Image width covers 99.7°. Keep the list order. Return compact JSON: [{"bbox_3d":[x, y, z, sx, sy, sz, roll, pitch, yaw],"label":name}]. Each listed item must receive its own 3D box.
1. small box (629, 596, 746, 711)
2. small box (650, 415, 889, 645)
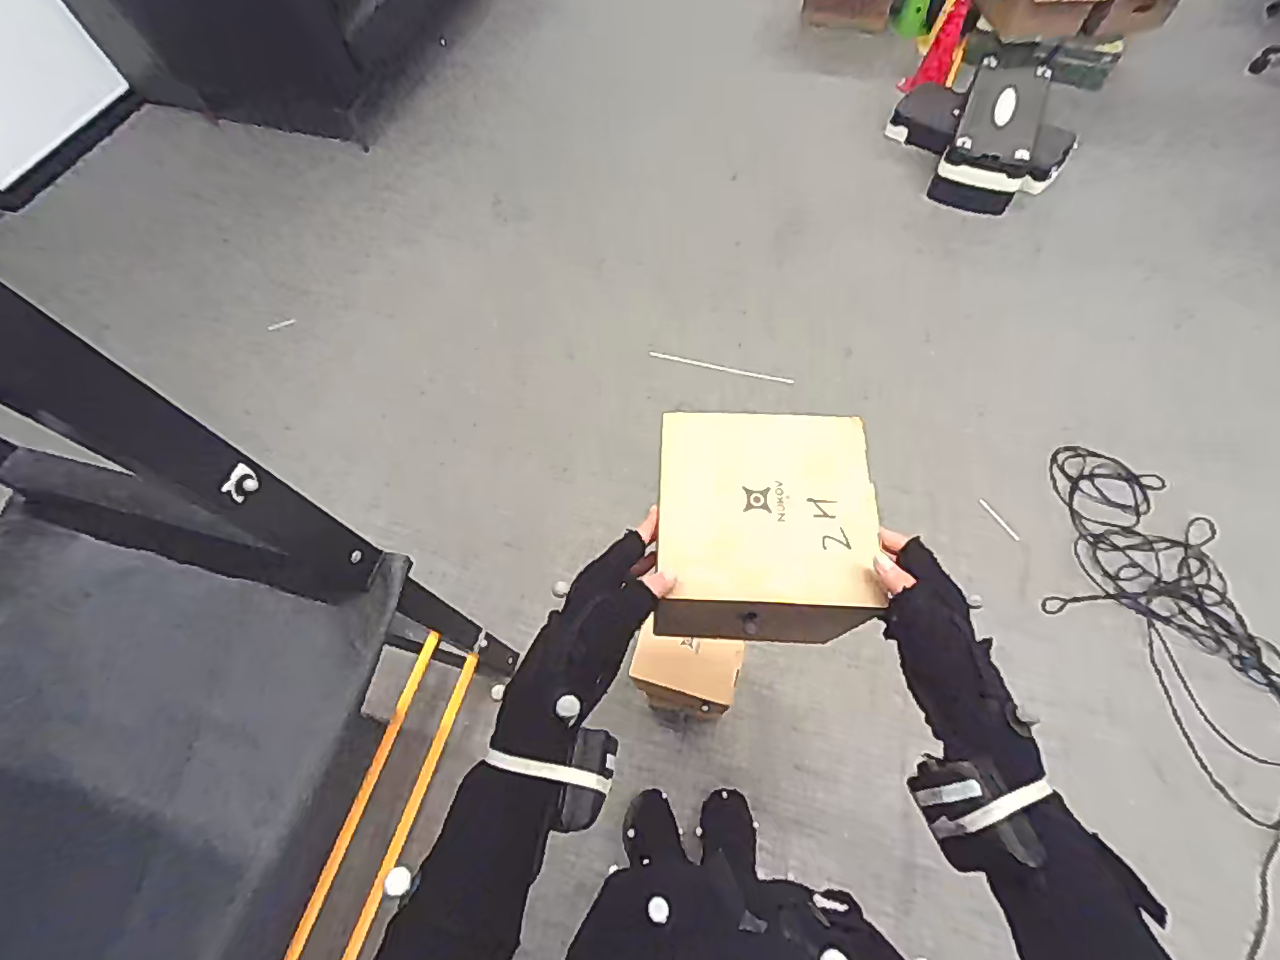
[{"bbox_3d":[0.092,0.309,0.975,0.179,0.176,0.168,13,65,10],"label":"small box"},{"bbox_3d":[0.101,0.055,0.500,0.179,0.176,0.168,1,65,2],"label":"small box"}]
